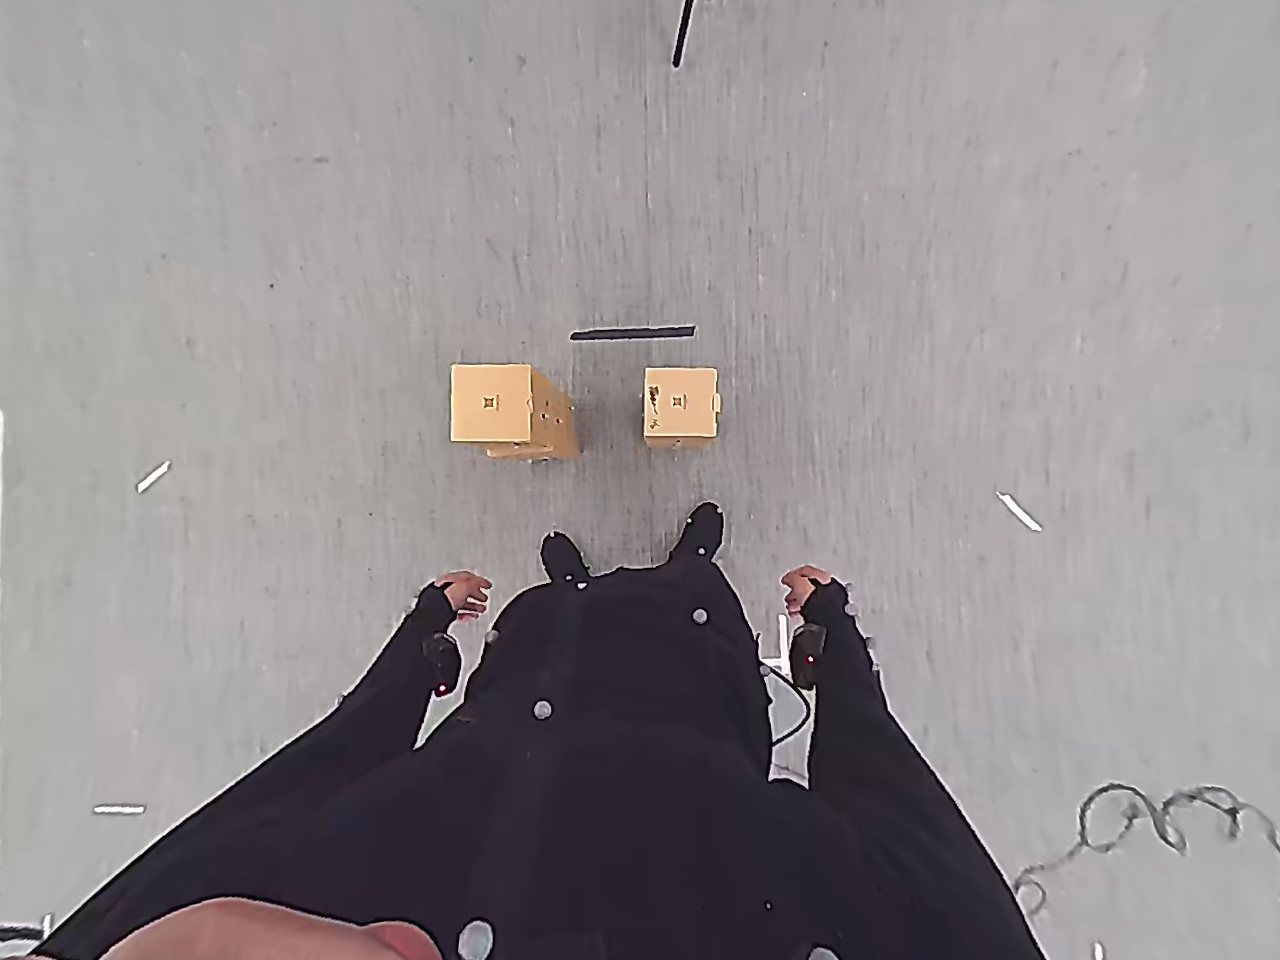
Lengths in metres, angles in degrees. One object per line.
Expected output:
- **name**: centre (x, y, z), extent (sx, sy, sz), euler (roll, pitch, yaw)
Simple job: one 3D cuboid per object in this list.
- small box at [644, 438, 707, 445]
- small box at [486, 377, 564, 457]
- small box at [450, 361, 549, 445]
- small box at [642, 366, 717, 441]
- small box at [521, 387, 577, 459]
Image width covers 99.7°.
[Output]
- **small box**: centre (0.099, -0.186, 1.535), extent (0.179, 0.176, 0.168), euler (1, 90, 1)
- **small box**: centre (-0.293, -0.155, 1.383), extent (0.168, 0.176, 0.179), euler (-5, 90, 3)
- **small box**: centre (-0.311, -0.167, 1.221), extent (0.179, 0.176, 0.168), euler (0, 89, 2)
- **small box**: centre (0.095, -0.189, 1.371), extent (0.179, 0.176, 0.168), euler (2, 89, 1)
- **small box**: centre (-0.280, -0.158, 1.546), extent (0.168, 0.176, 0.179), euler (-6, 89, 2)
